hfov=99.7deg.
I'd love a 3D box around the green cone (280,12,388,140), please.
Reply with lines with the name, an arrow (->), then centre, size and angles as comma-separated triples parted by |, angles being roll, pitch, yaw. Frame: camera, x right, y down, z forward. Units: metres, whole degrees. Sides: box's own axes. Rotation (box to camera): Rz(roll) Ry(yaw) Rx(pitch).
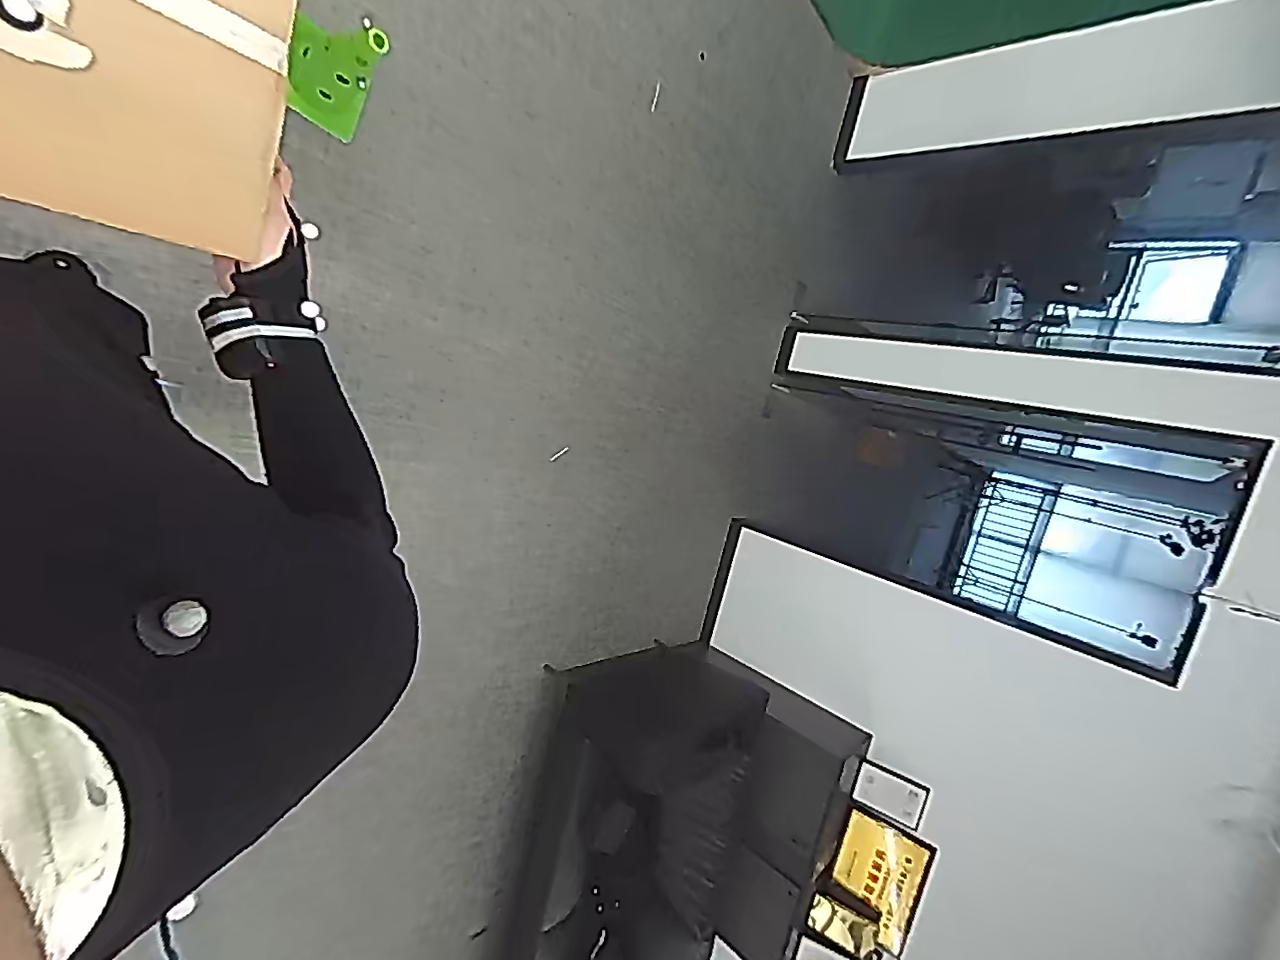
green cone -> -0.656, -0.931, 1.200 | 0.200, 0.368, 0.202 | 16, 91, -51

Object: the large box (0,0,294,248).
large box -> -0.502, -0.397, 0.344 | 0.408, 0.320, 0.320 | -1, 121, -52
